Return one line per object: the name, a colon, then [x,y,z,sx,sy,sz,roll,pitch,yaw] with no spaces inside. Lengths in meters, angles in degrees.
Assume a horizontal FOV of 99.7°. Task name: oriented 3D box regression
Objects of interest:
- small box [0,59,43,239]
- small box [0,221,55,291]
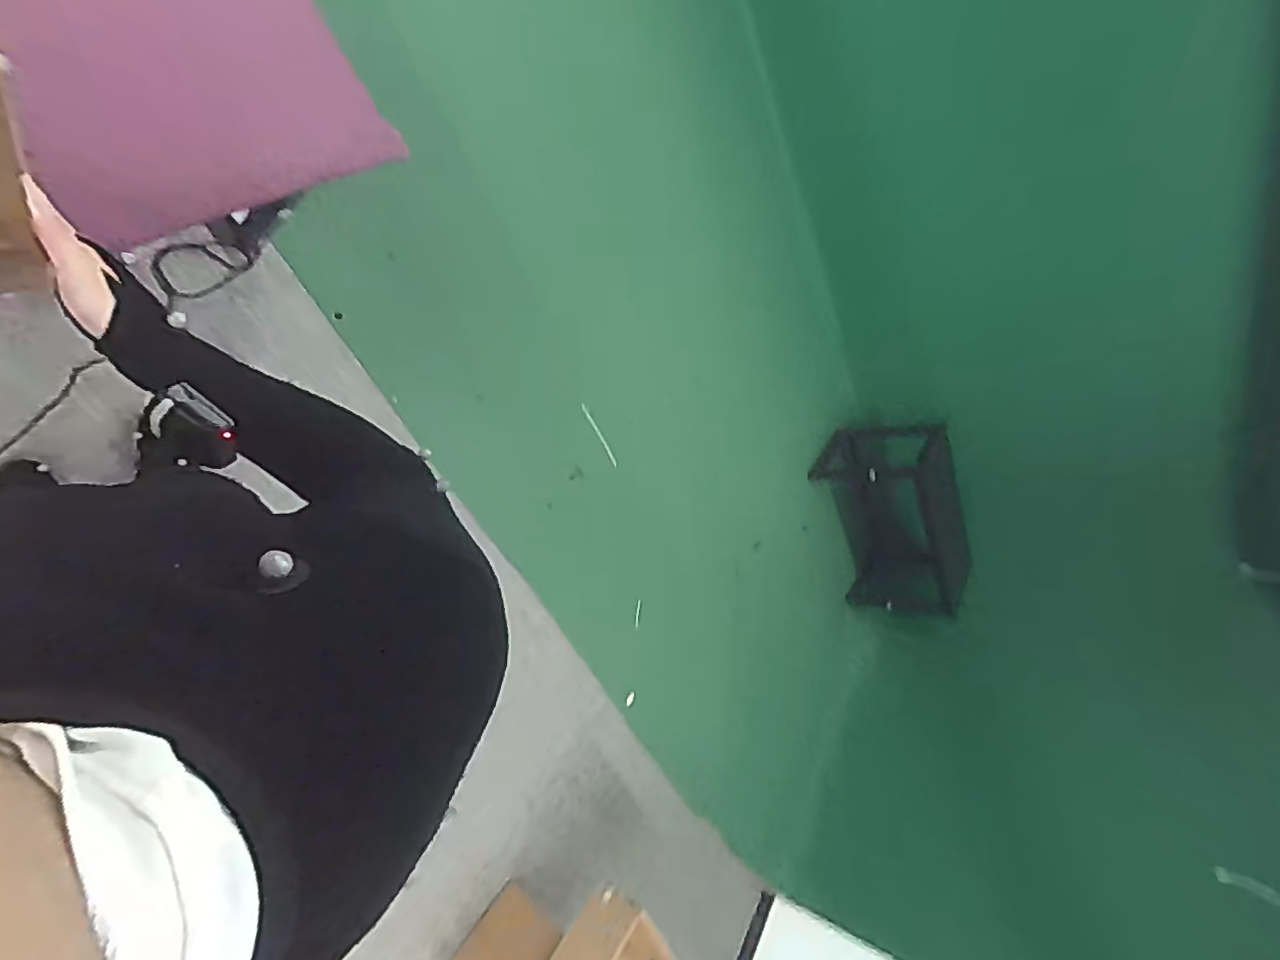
small box: [-0.514,-0.264,0.329,0.168,0.176,0.179,-23,109,-43]
small box: [-0.629,-0.262,0.444,0.168,0.176,0.179,-23,108,-42]
